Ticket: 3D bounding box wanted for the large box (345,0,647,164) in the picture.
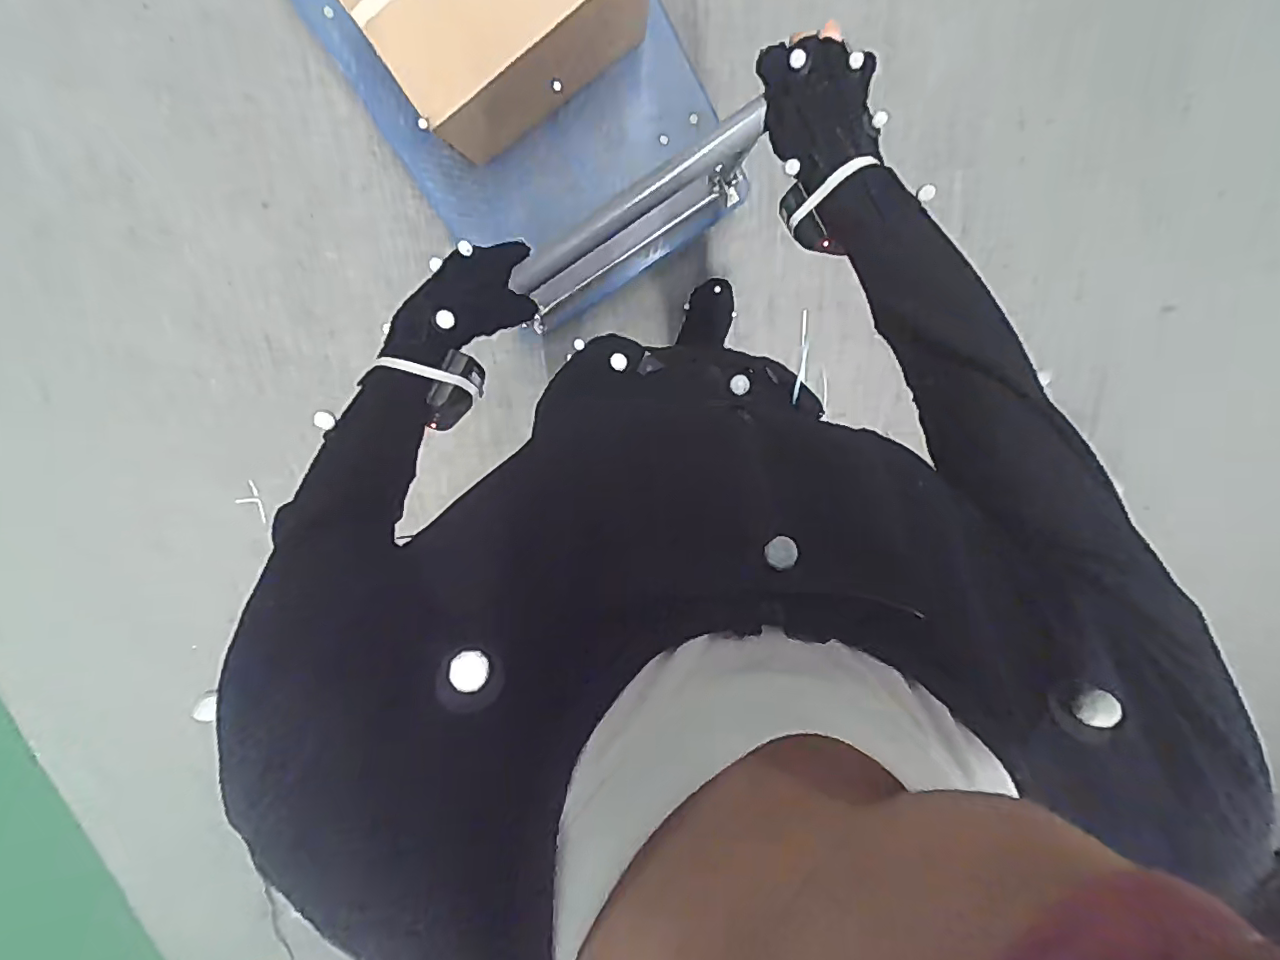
[{"bbox_3d":[-0.231,-0.800,0.870,0.408,0.320,0.320,-33,108,10],"label":"large box"}]
